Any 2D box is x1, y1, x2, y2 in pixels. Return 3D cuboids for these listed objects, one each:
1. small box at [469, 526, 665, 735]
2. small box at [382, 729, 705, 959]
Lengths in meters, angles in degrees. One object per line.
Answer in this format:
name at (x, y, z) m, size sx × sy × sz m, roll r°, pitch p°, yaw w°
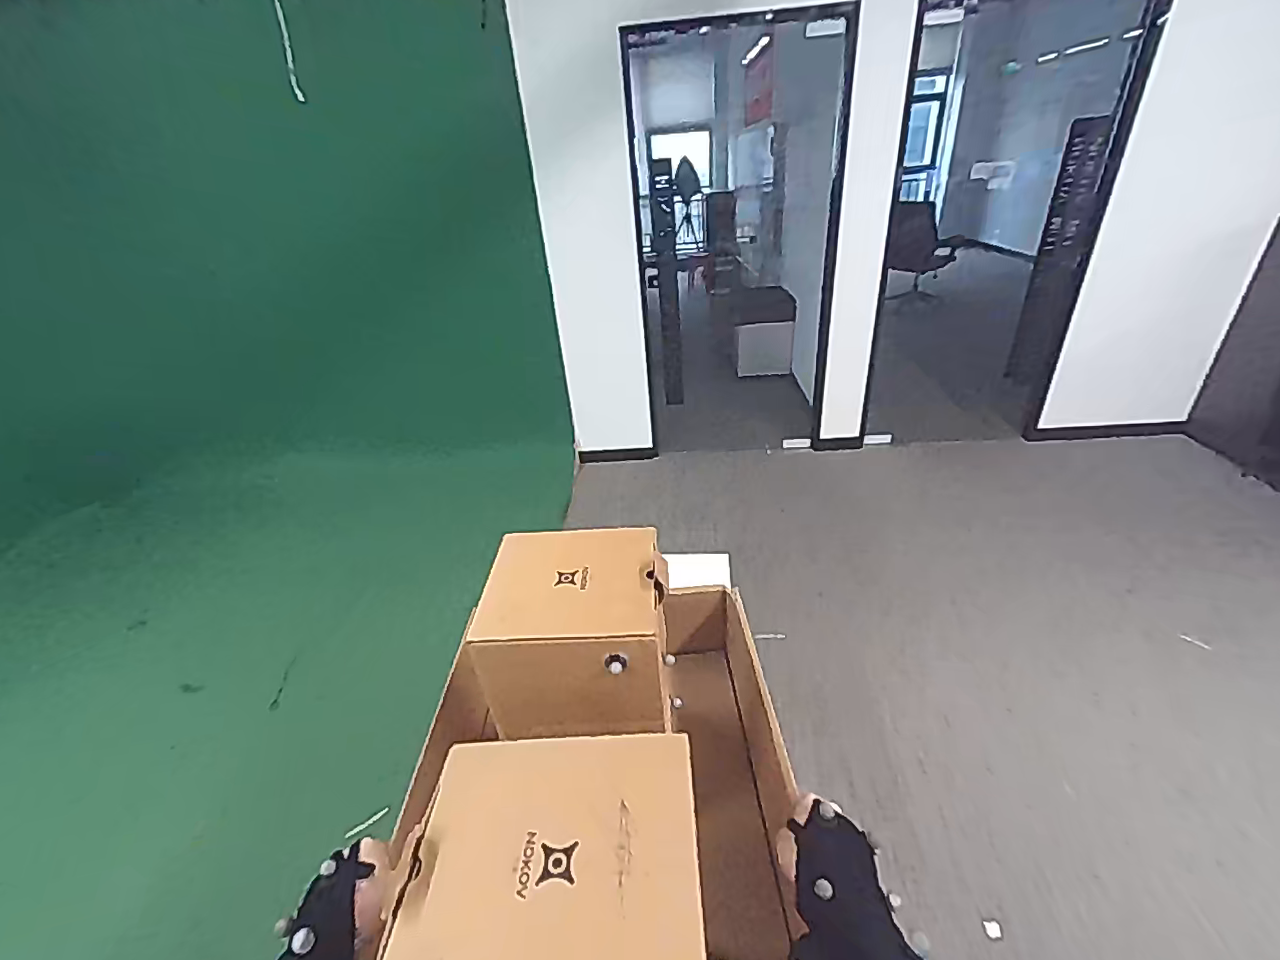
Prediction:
small box at (-0.064, 0.168, 0.598) m, size 0.179 × 0.176 × 0.168 m, roll -2°, pitch 30°, yaw 2°
small box at (-0.046, 0.298, 0.369) m, size 0.179 × 0.176 × 0.168 m, roll -3°, pitch 30°, yaw 2°
